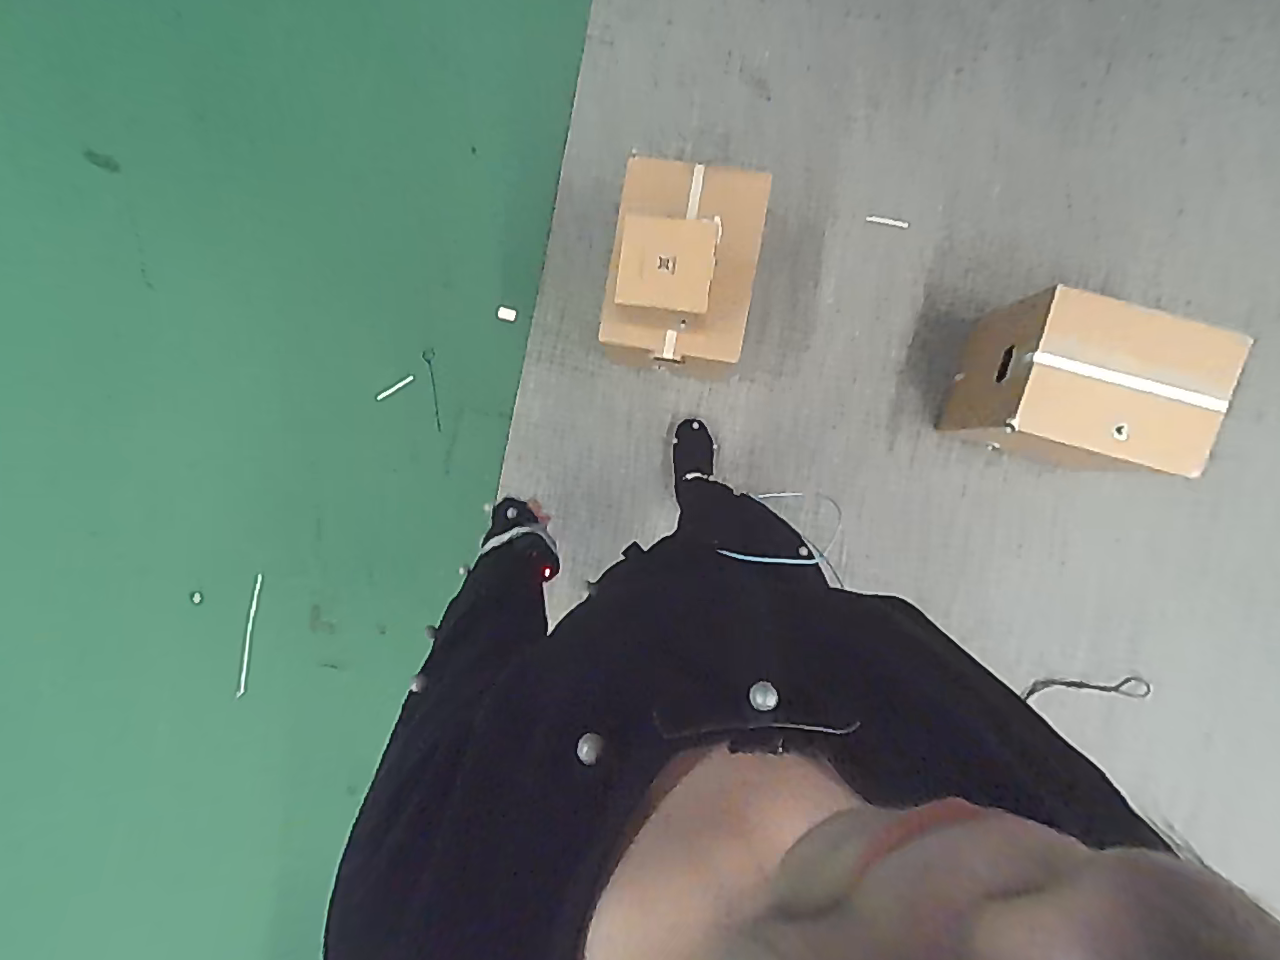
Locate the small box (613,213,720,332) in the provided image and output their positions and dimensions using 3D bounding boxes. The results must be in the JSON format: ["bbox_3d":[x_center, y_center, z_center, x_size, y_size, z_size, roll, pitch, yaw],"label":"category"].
[{"bbox_3d":[0.053,-0.399,1.067,0.179,0.176,0.168,9,93,5],"label":"small box"}]

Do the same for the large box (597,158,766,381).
[{"bbox_3d":[0.097,-0.477,1.307,0.320,0.320,0.408,10,93,3],"label":"large box"}]
